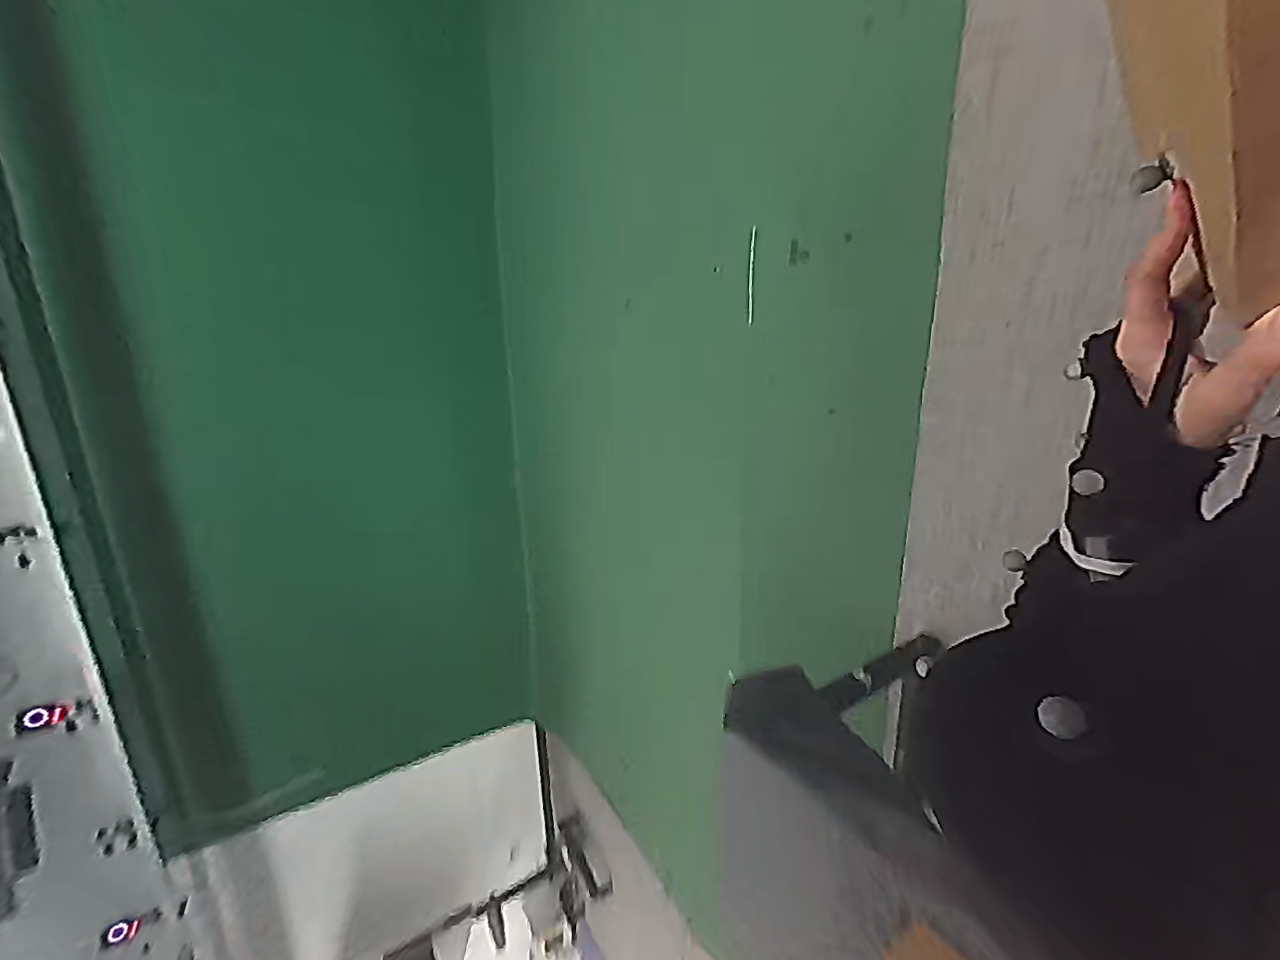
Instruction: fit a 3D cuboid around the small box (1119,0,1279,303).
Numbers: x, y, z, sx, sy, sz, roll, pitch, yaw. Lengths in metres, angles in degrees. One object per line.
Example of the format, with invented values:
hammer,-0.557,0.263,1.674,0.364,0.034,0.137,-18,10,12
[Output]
small box,0.293,-0.206,0.185,0.168,0.179,0.176,-19,49,40
